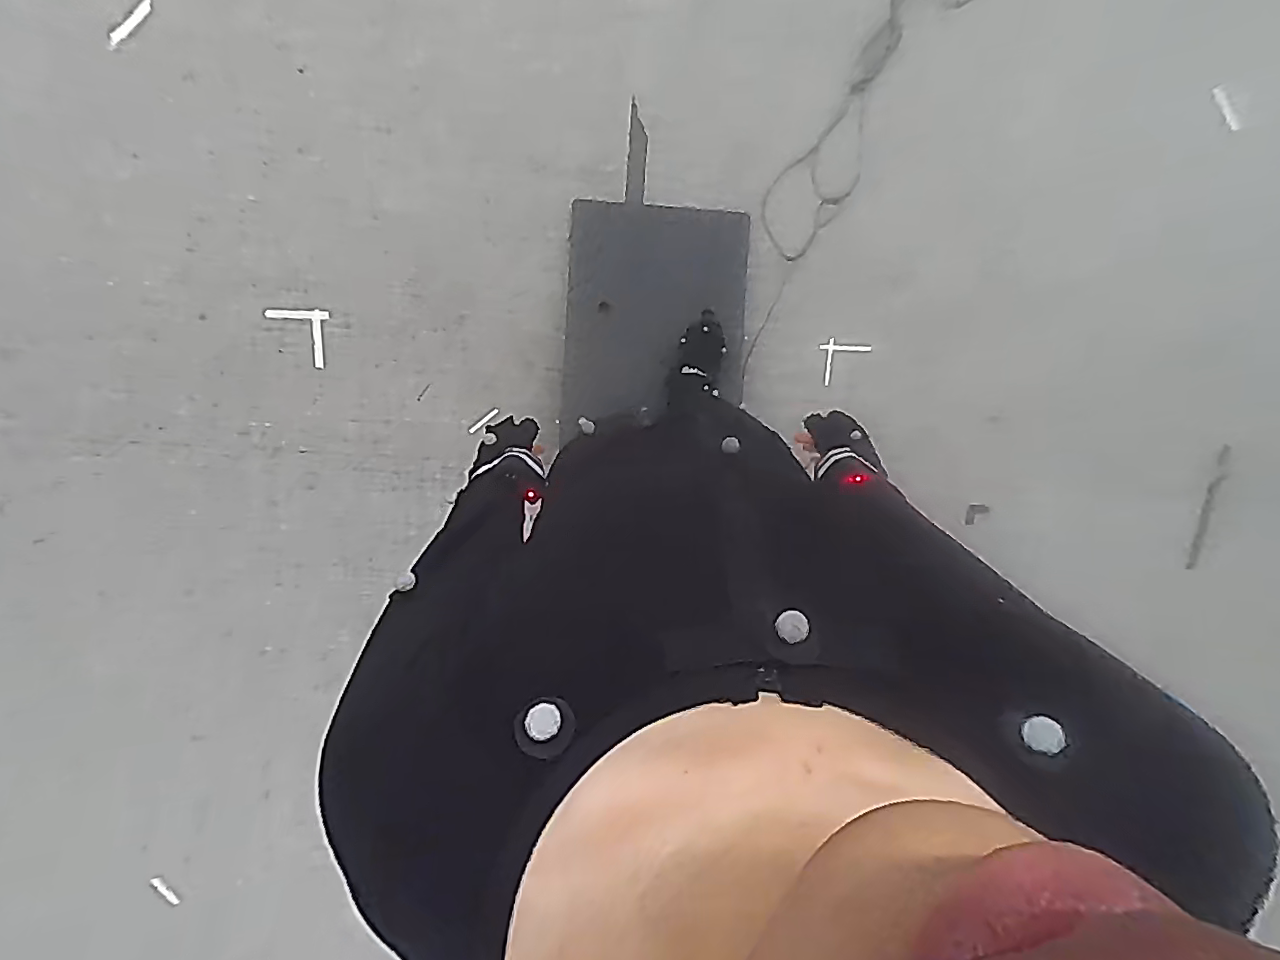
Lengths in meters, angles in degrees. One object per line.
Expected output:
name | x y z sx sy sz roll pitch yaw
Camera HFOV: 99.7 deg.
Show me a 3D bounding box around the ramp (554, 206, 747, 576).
ramp | 0.028 -0.244 1.486 0.509 0.206 0.991 2 100 -1
